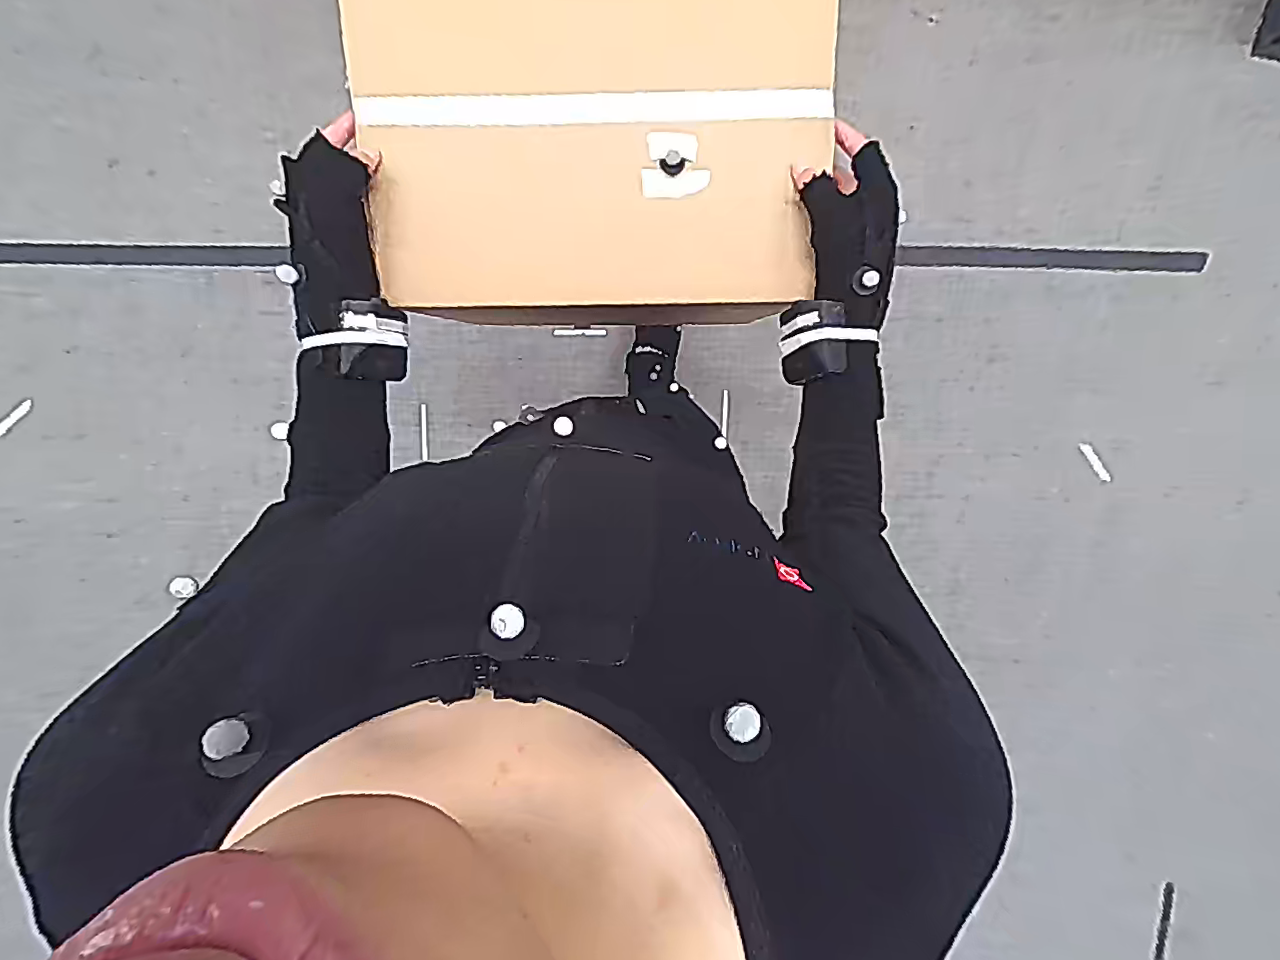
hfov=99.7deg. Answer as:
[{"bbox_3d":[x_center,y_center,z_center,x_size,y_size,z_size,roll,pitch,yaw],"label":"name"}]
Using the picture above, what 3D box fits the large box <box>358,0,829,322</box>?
[{"bbox_3d":[-0.040,-0.357,0.616,0.408,0.320,0.320,-1,103,-1],"label":"large box"}]
